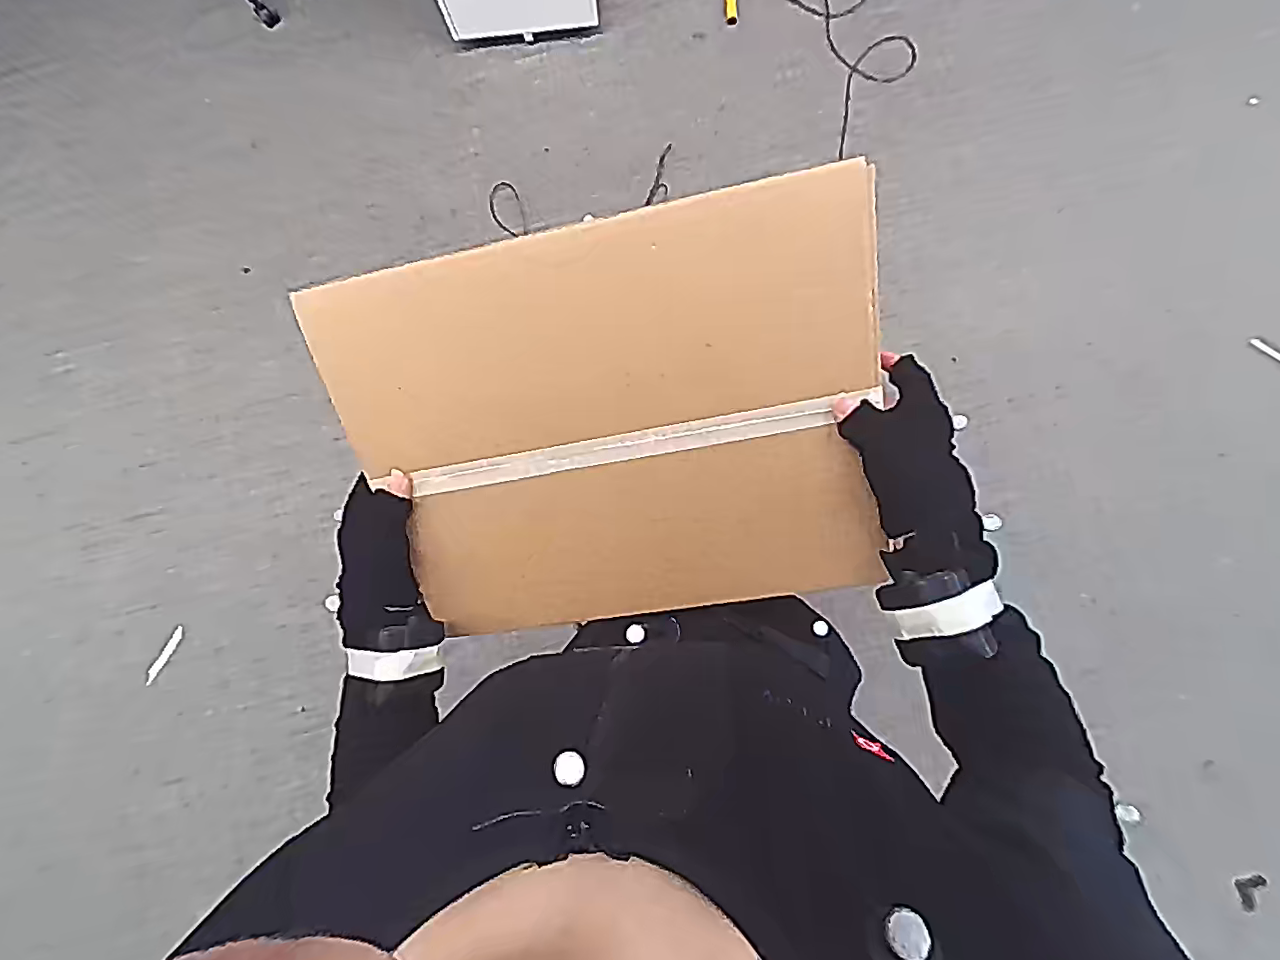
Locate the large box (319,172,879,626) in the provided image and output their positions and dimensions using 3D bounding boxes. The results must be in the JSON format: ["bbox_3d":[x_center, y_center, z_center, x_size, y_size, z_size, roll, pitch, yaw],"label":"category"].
[{"bbox_3d":[-0.009,-0.089,0.570,0.408,0.320,0.320,-10,112,9],"label":"large box"}]
